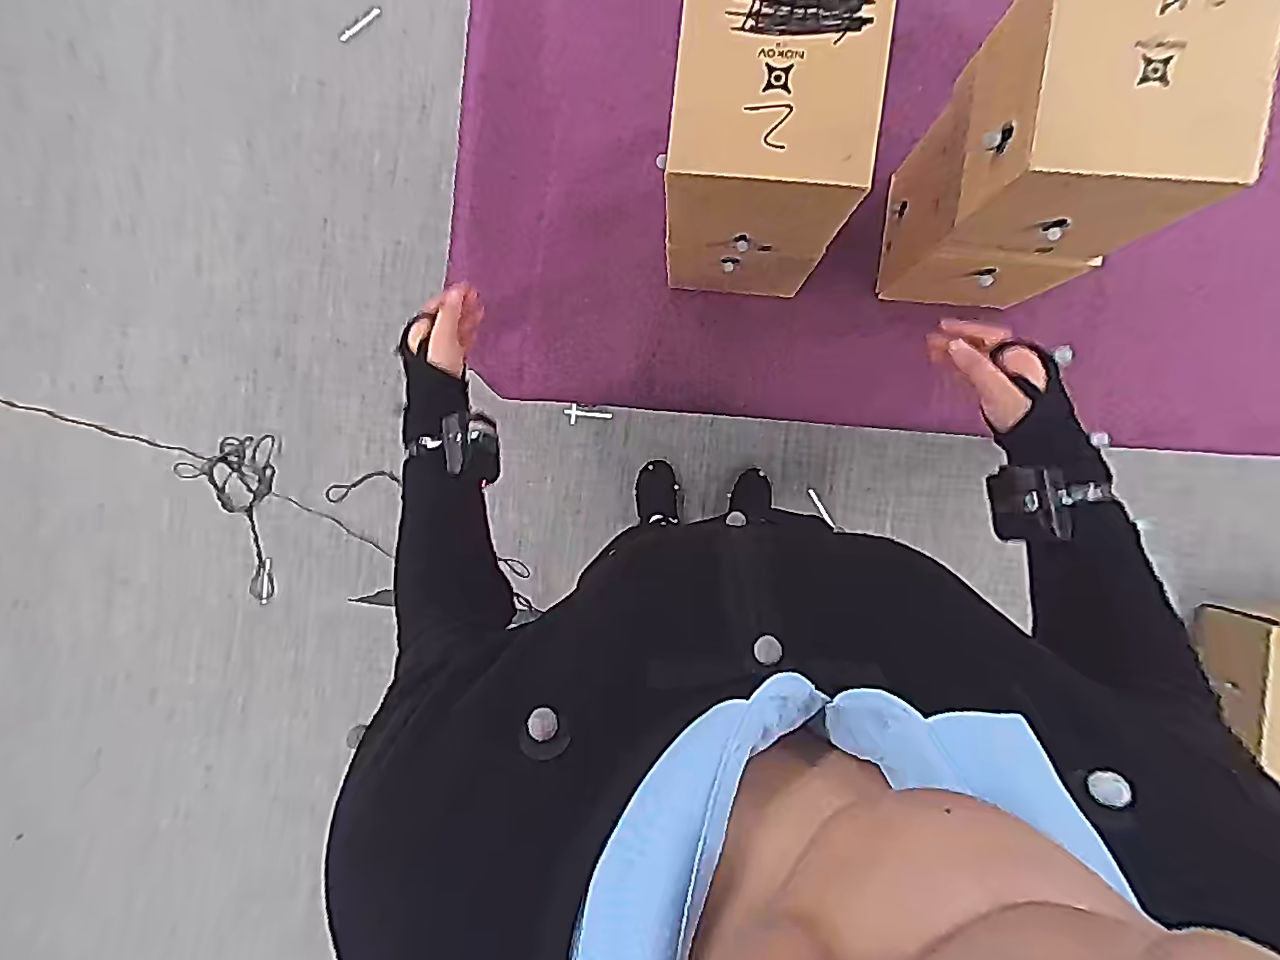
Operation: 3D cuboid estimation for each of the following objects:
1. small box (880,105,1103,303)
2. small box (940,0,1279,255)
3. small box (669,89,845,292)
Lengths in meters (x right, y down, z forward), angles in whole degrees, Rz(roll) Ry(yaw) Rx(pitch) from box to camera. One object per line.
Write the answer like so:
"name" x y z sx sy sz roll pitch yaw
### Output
"small box" 0.417 -0.321 0.652 0.179 0.176 0.168 7 93 5
"small box" 0.398 -0.322 0.487 0.168 0.176 0.179 7 93 4
"small box" 0.133 -0.343 0.671 0.179 0.176 0.168 6 94 3
